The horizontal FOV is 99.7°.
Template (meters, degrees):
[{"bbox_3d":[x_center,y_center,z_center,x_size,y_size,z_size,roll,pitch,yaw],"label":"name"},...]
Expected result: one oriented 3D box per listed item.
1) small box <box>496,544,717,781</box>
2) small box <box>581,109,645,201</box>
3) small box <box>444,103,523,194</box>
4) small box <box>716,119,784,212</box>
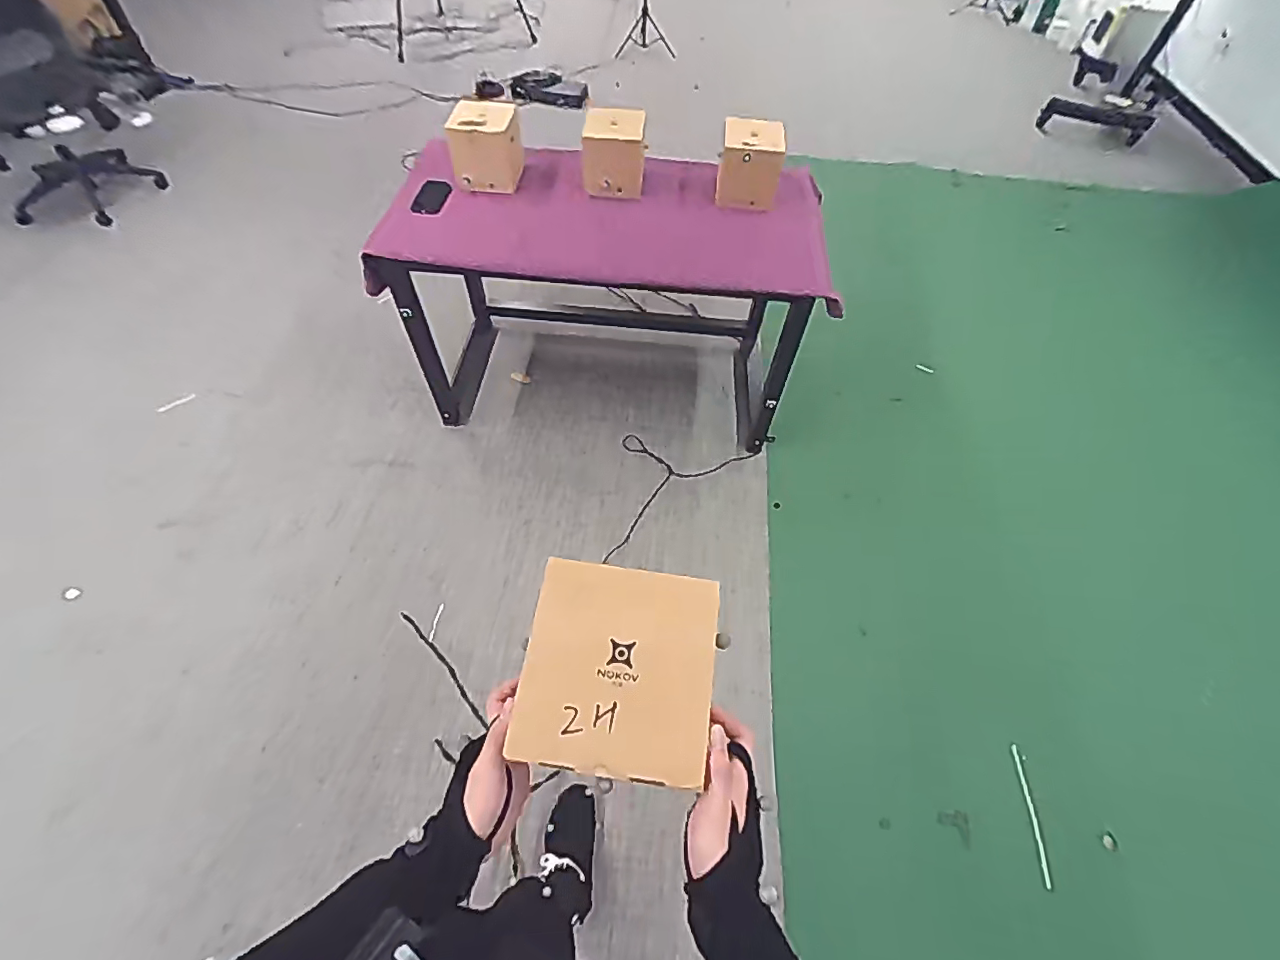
[{"bbox_3d":[-0.023,0.184,0.534,0.168,0.176,0.179,8,63,4],"label":"small box"},{"bbox_3d":[-0.075,-0.940,1.567,0.168,0.176,0.179,4,56,1],"label":"small box"},{"bbox_3d":[-0.441,-0.950,1.556,0.168,0.176,0.179,5,55,0],"label":"small box"},{"bbox_3d":[0.312,-0.905,1.558,0.168,0.176,0.179,6,55,2],"label":"small box"}]
